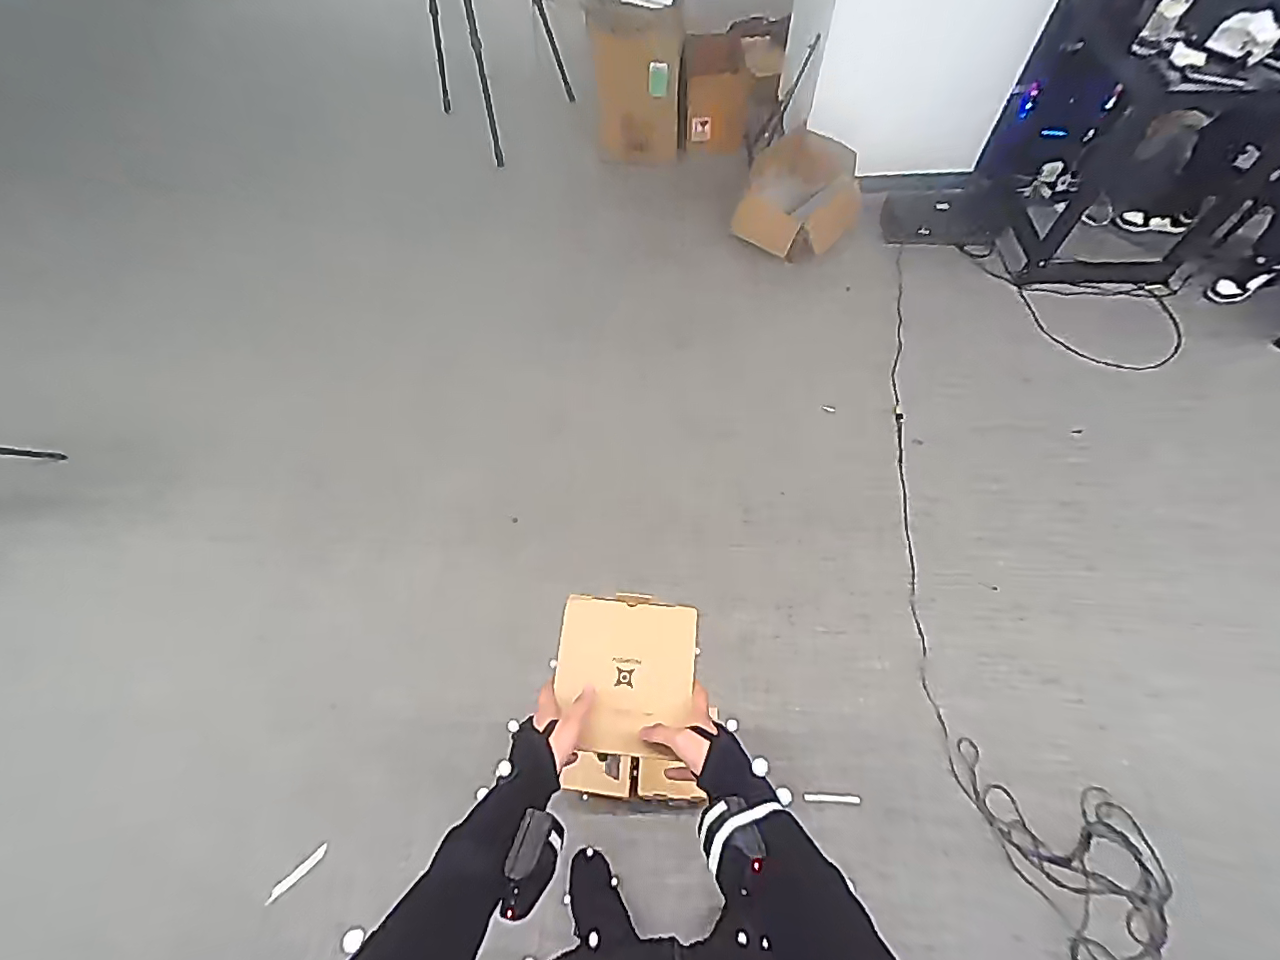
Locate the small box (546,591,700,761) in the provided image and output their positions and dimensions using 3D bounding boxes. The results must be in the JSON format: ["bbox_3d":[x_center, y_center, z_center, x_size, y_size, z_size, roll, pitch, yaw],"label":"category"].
[{"bbox_3d":[-0.020,0.259,0.713,0.168,0.176,0.179,7,67,1],"label":"small box"}]
